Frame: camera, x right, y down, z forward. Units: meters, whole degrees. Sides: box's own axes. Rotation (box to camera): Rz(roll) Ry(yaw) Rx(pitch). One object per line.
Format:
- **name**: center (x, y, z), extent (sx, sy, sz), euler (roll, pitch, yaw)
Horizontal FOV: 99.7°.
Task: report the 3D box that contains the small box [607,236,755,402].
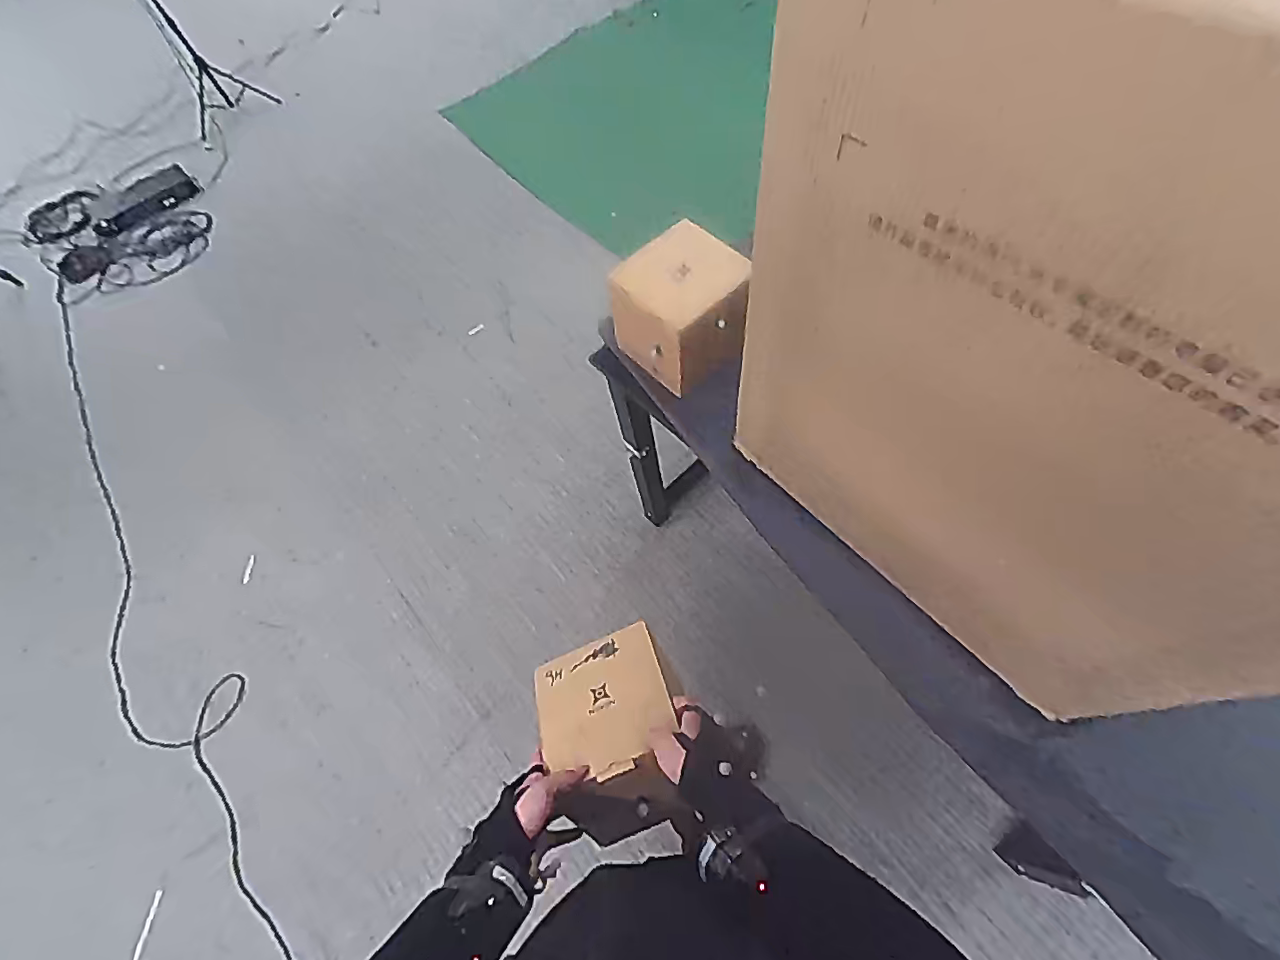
- **small box**: center (0.070, -0.266, 0.914), extent (0.179, 0.176, 0.168), euler (-41, 67, -17)
